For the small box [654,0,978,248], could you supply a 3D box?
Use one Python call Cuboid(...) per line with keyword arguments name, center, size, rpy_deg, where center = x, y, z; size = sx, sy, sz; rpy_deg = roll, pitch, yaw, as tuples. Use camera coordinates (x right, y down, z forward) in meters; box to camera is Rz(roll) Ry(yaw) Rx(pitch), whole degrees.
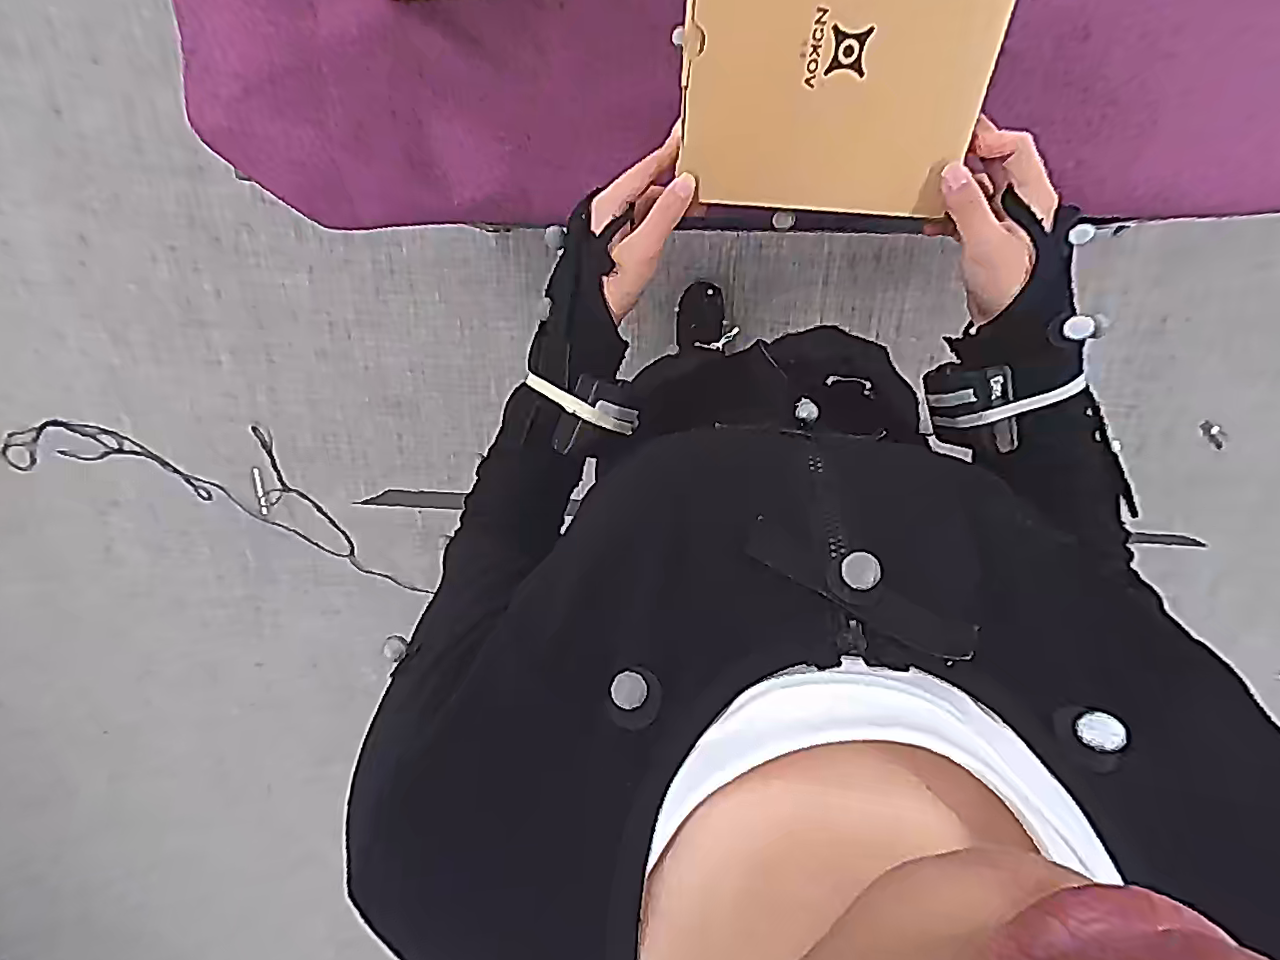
Cuboid(name="small box", center=(0.104, -0.270, 0.392), size=(0.179, 0.176, 0.168), rpy_deg=(4, 119, 3))
